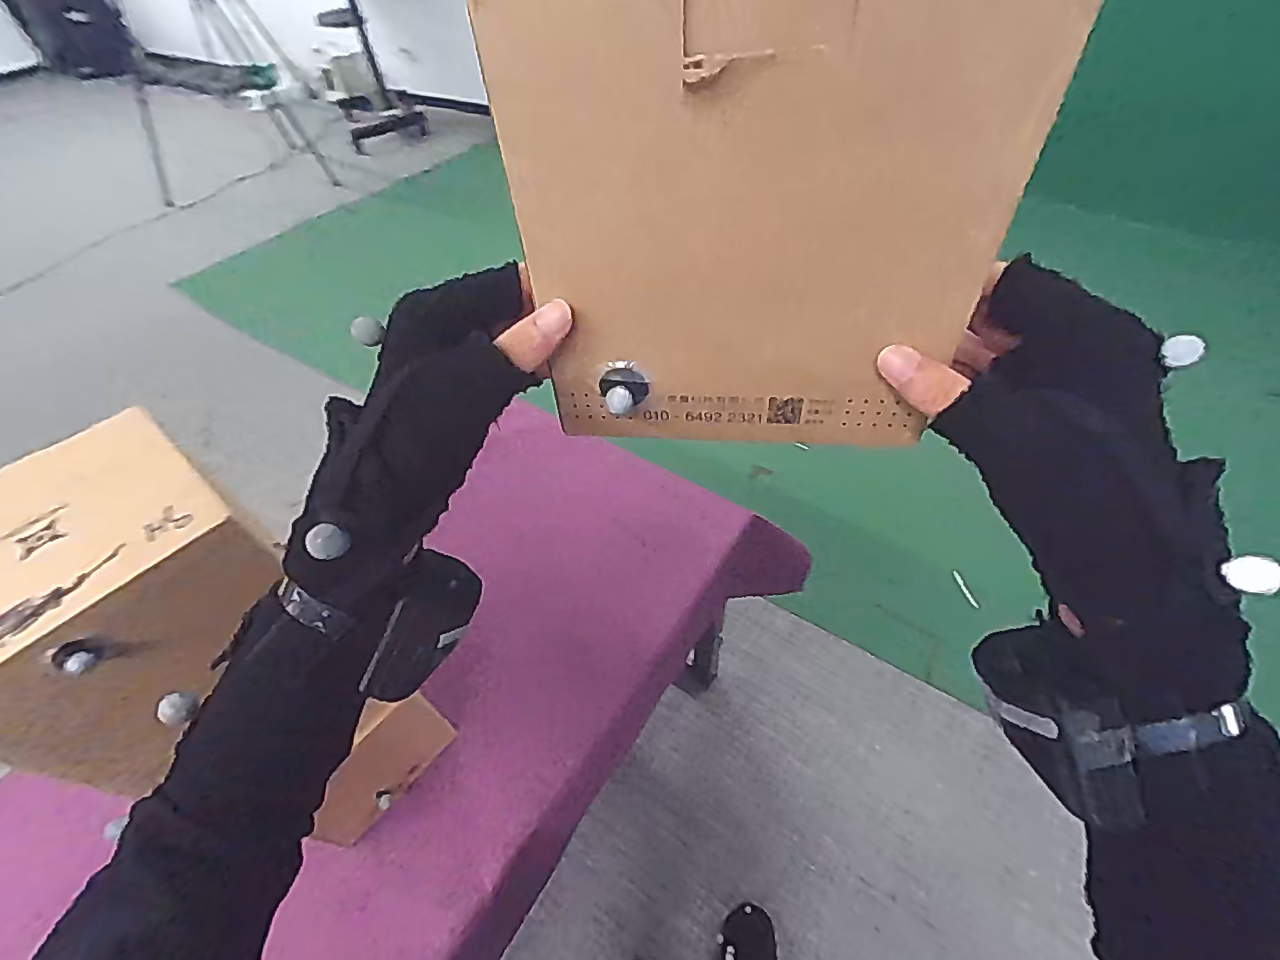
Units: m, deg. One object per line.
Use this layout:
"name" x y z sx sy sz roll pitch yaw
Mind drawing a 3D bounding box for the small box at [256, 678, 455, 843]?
"small box" -0.356 0.294 0.642 0.179 0.176 0.168 30 59 26

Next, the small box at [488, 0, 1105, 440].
"small box" 0.055 -0.134 0.248 0.168 0.176 0.179 3 47 8

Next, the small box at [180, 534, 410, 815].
"small box" -0.363 0.185 0.523 0.168 0.176 0.179 29 58 25

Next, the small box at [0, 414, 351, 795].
"small box" -0.355 0.088 0.388 0.179 0.176 0.168 30 59 28
